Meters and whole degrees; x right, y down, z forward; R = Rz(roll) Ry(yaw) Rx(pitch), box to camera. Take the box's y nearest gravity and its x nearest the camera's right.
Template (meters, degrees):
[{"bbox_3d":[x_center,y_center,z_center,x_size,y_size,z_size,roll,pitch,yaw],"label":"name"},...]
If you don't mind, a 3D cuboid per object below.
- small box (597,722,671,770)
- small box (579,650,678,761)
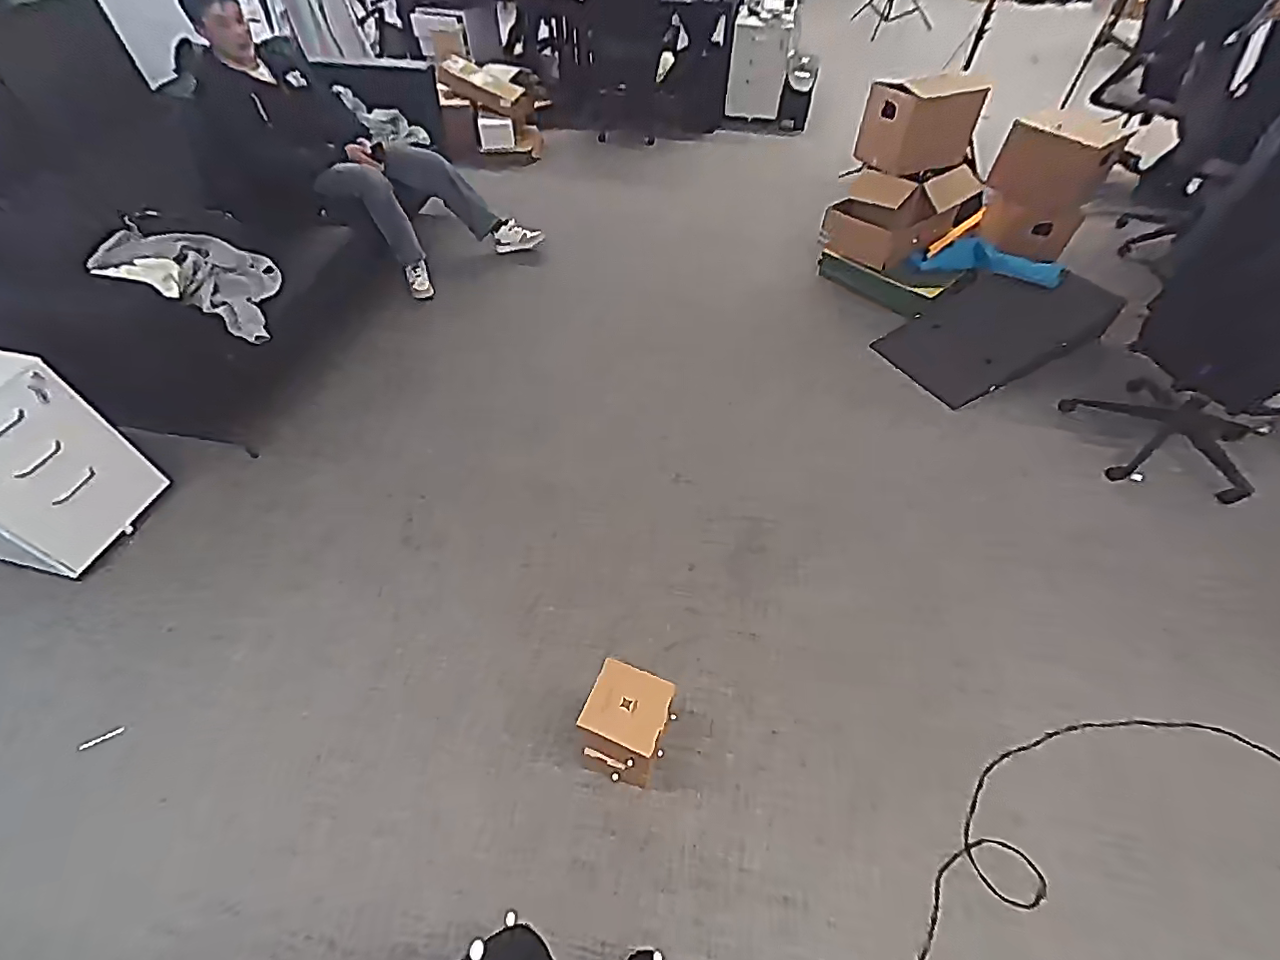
[{"bbox_3d":[-0.021,0.624,1.389,0.179,0.176,0.168,-10,50,-5],"label":"small box"},{"bbox_3d":[-0.022,0.532,1.264,0.179,0.176,0.168,18,52,16],"label":"small box"}]
